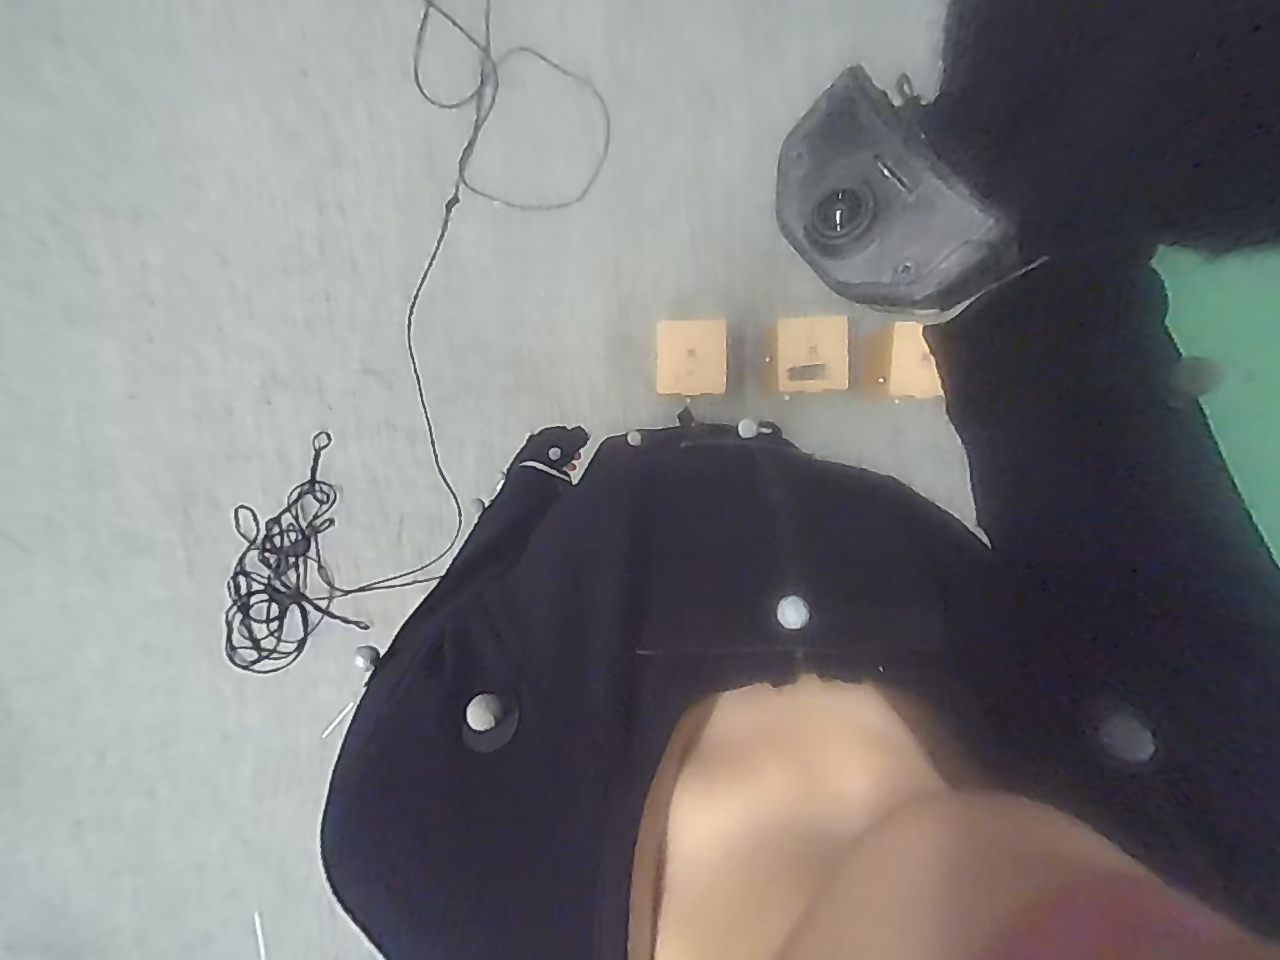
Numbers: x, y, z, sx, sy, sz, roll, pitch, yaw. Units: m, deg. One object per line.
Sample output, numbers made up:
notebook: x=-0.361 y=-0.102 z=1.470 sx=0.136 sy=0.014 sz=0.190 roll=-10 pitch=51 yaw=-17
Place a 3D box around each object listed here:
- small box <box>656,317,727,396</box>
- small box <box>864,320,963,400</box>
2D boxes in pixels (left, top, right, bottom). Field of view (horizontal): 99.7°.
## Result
small box: x=0.124 y=-0.305 z=1.359 sx=0.168 sy=0.176 sz=0.179 roll=0 pitch=96 yaw=2
small box: x=0.673 y=-0.294 z=1.348 sx=0.168 sy=0.176 sz=0.179 roll=1 pitch=96 yaw=1
